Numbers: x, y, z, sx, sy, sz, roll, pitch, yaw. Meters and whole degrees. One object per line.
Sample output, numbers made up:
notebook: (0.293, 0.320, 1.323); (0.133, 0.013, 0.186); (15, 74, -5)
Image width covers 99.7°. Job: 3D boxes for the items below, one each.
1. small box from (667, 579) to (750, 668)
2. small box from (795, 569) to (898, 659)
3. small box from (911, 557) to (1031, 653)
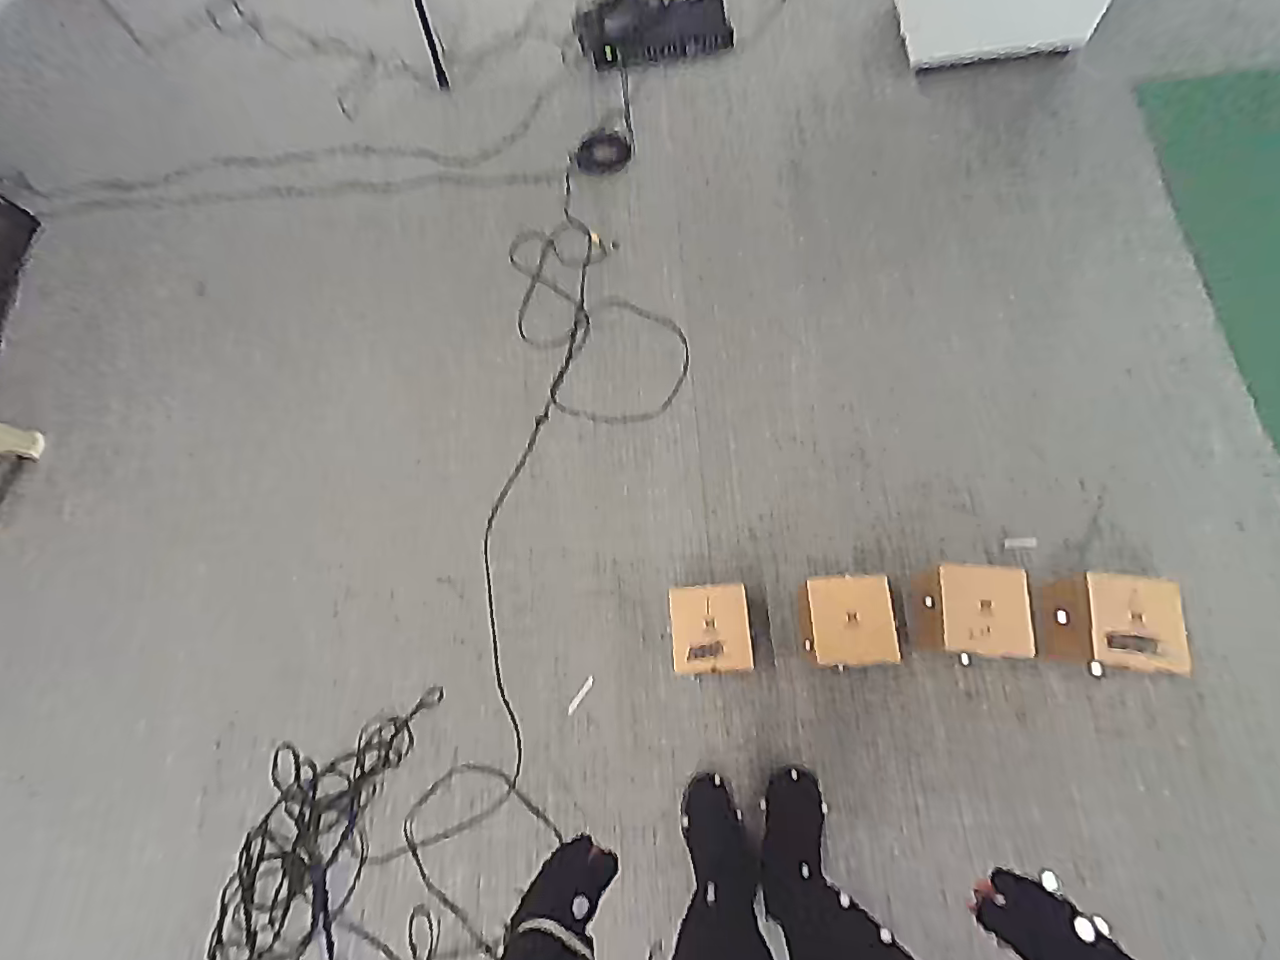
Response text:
small box: (0.153, 0.324, 1.214); (0.168, 0.176, 0.179); (-5, 71, 6)
small box: (0.441, 0.299, 1.185); (0.168, 0.176, 0.179); (-4, 72, 6)
small box: (0.695, 0.271, 1.158); (0.168, 0.176, 0.179); (3, 73, 9)
